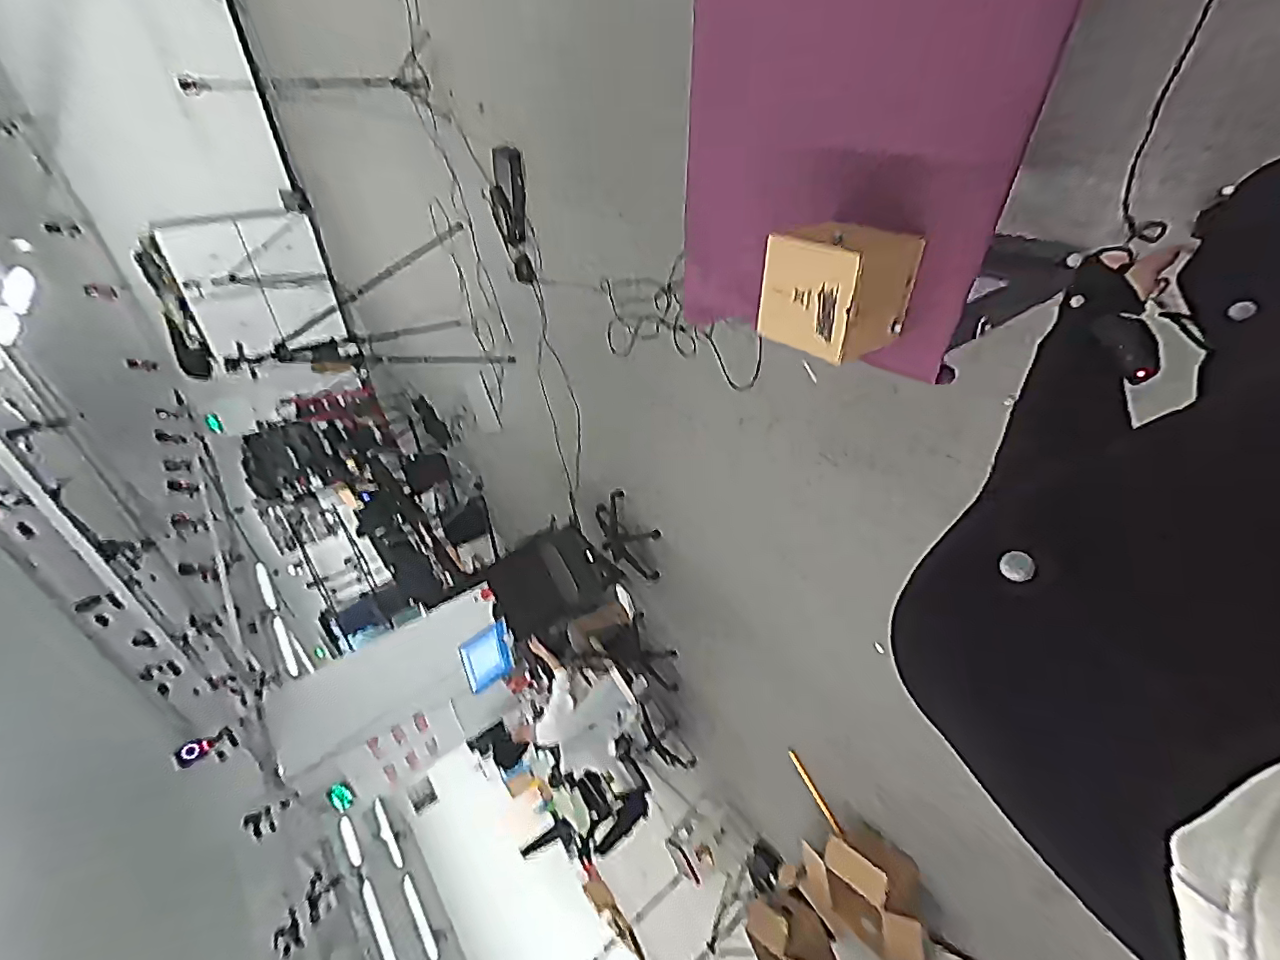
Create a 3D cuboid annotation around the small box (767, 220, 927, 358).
[{"bbox_3d":[0.343,-0.329,0.910,0.179,0.176,0.168,39,142,41],"label":"small box"}]
